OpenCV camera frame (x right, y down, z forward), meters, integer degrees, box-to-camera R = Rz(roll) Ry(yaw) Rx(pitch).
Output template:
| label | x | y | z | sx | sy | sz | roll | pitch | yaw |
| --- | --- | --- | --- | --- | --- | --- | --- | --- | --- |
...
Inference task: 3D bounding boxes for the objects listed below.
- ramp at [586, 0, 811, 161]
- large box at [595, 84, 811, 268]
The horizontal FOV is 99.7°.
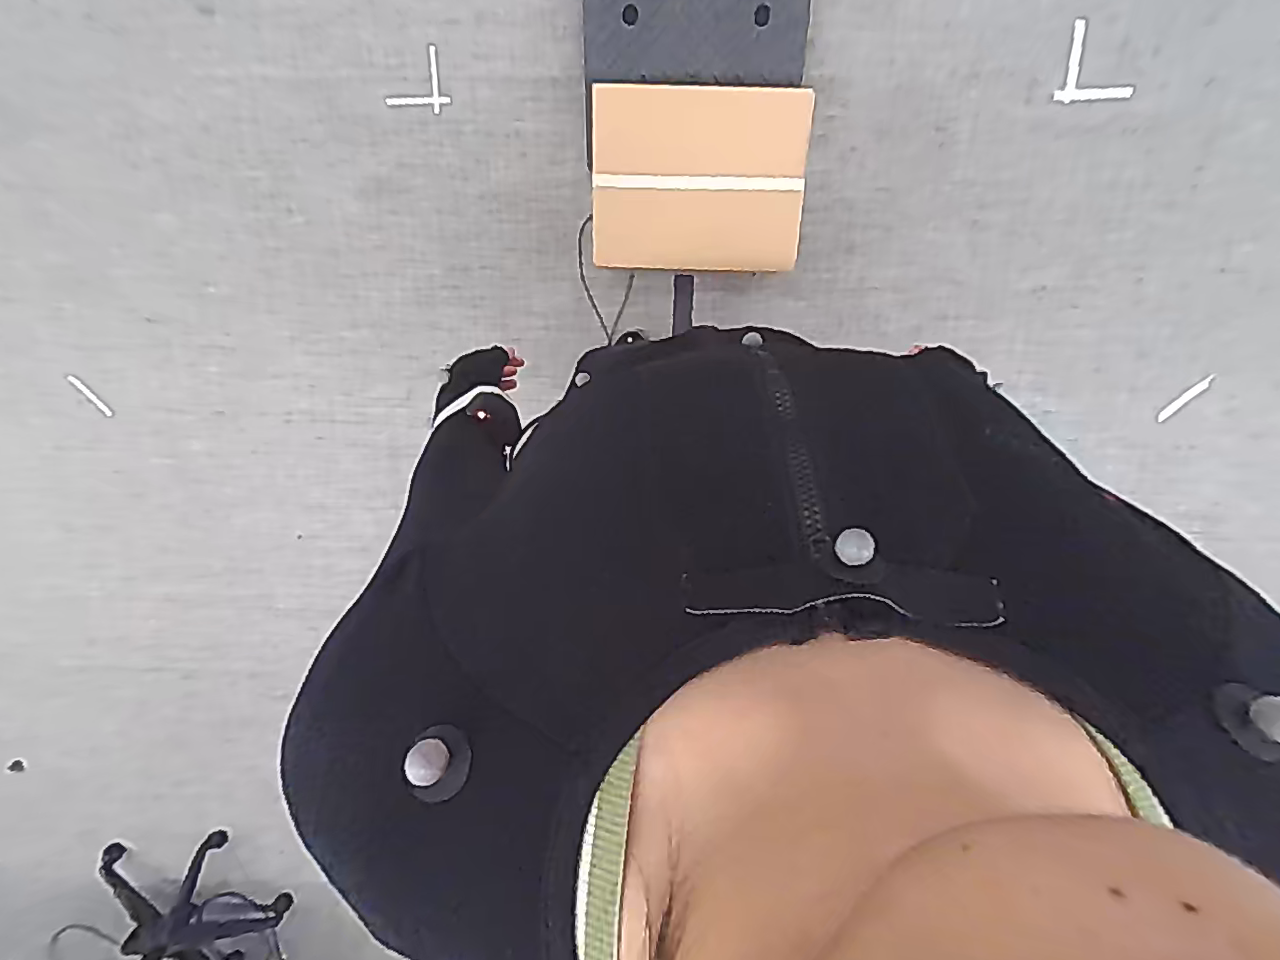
| label | x | y | z | sx | sy | sz | roll | pitch | yaw |
| --- | --- | --- | --- | --- | --- | --- | --- | --- | --- |
| ramp | 0.128 | -1.211 | 1.080 | 0.509 | 0.206 | 0.991 | -1 | 106 | 1 |
| large box | 0.119 | -0.629 | 1.177 | 0.408 | 0.320 | 0.320 | 2 | 109 | 1 |
